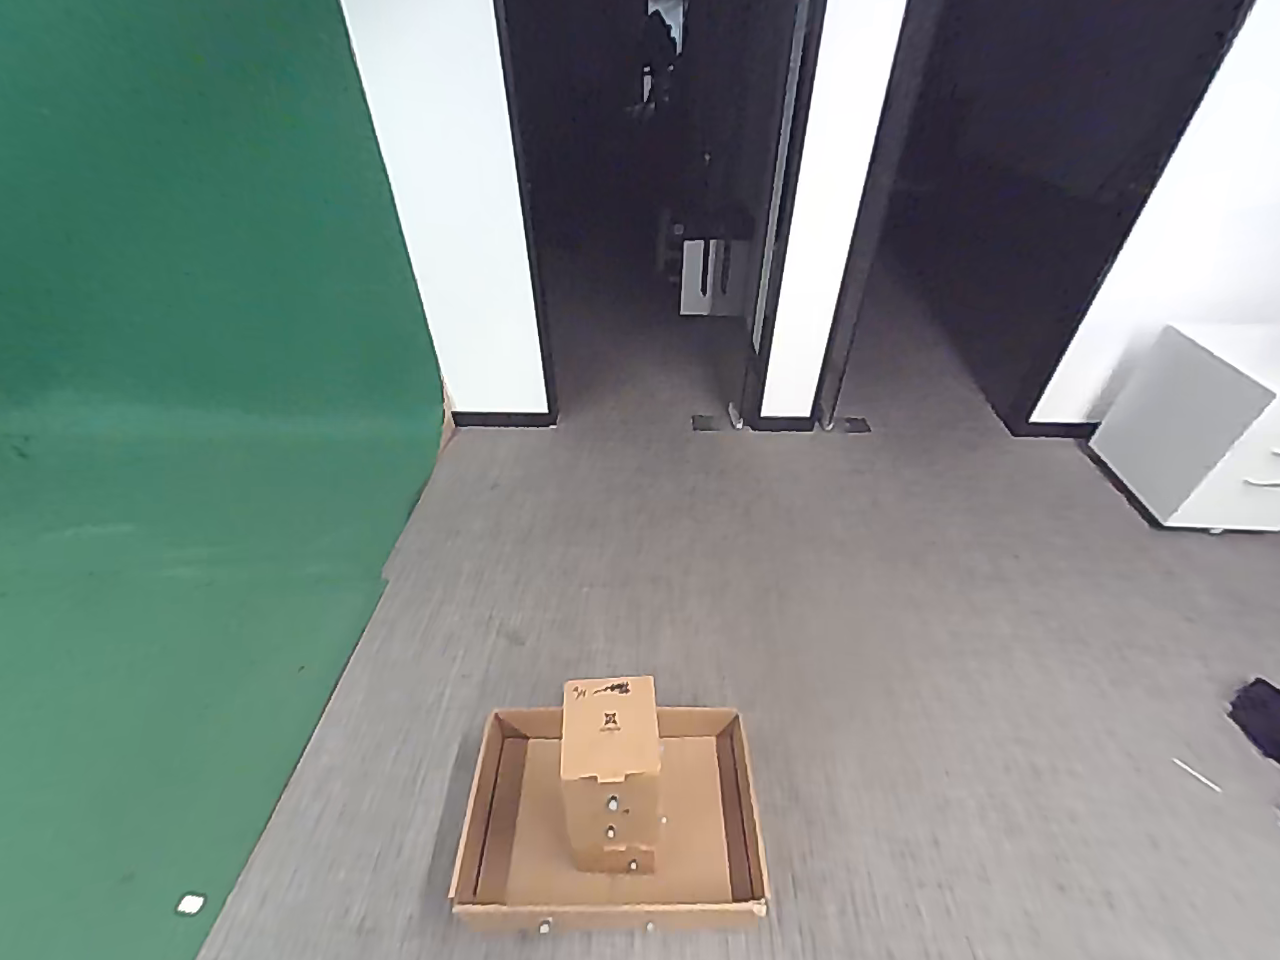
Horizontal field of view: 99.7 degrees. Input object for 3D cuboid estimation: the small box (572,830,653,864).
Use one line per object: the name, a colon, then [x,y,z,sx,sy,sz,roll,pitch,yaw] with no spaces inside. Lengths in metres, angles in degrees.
small box: [-0.054,0.731,1.203,0.168,0.176,0.179,1,39,1]

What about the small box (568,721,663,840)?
small box: [-0.052,0.607,1.096,0.179,0.176,0.168,-2,41,-4]

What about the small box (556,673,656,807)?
small box: [-0.057,0.480,0.993,0.168,0.176,0.179,-2,41,-2]
